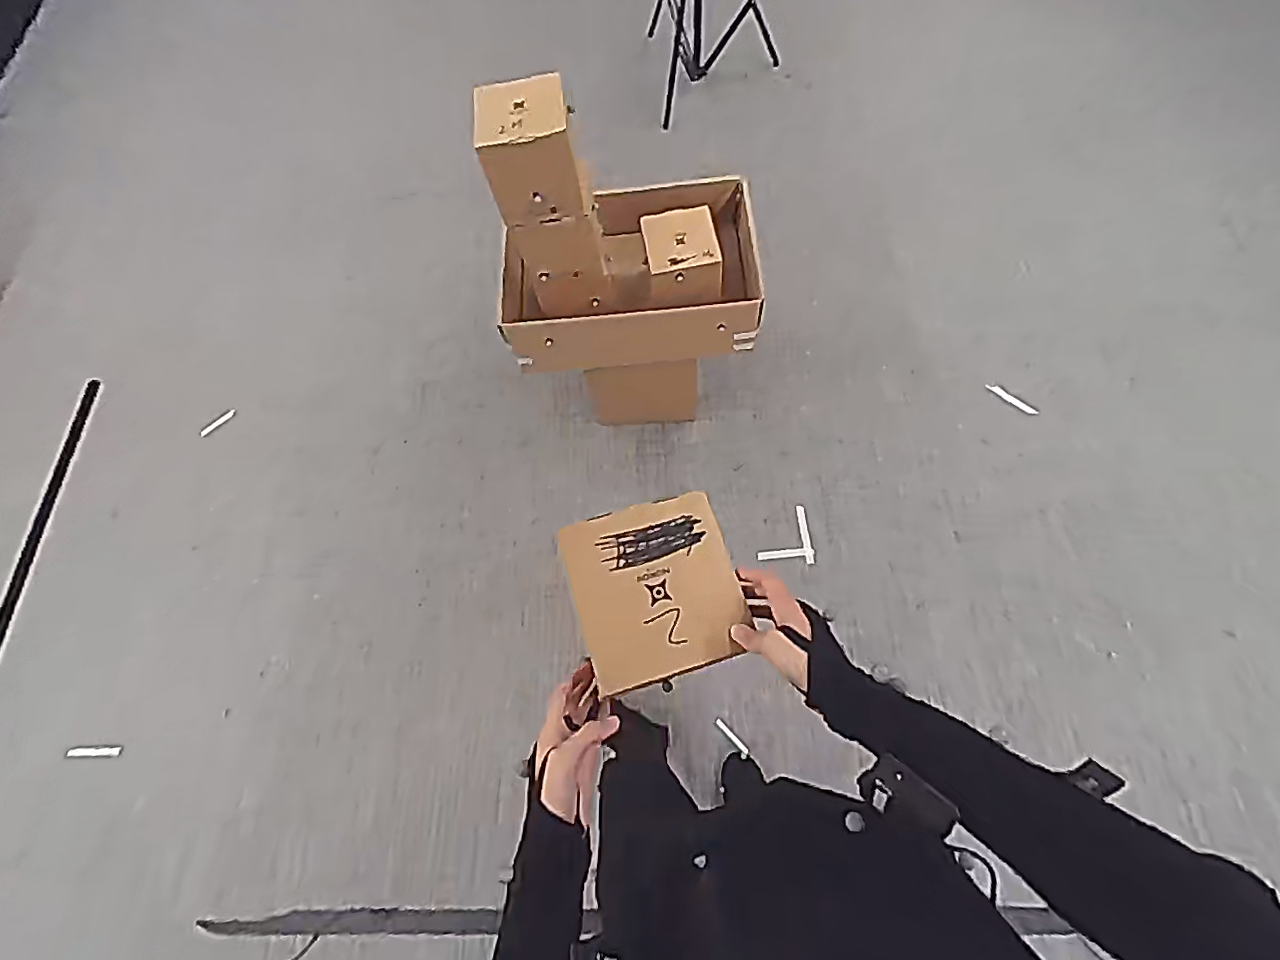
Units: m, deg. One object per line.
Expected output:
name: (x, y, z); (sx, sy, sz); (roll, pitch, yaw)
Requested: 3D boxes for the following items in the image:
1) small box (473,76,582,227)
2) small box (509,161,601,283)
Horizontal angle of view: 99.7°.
small box: (-0.211, -0.623, 1.038); (0.168, 0.176, 0.179); (-10, 66, 2)
small box: (-0.182, -0.555, 1.186); (0.168, 0.176, 0.179); (-8, 66, 3)
